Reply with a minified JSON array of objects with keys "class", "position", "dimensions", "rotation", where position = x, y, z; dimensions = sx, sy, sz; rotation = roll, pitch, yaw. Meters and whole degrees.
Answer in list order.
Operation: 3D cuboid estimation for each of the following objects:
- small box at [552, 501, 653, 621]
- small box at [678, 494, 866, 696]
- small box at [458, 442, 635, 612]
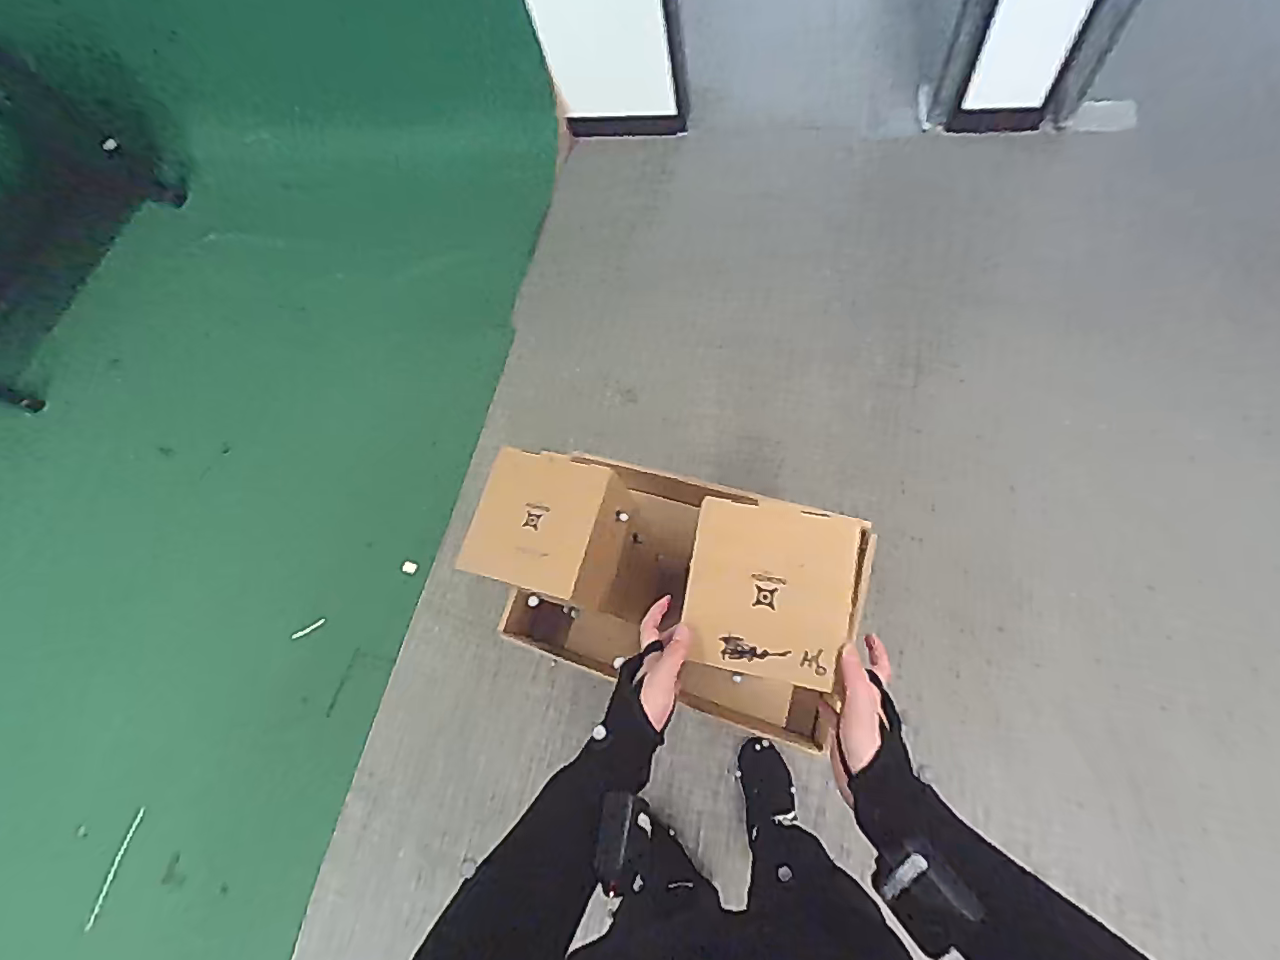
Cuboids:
[{"class":"small box","position":[-0.084,0.125,0.910],"dimensions":[0.168,0.176,0.179],"rotation":[12,73,17]},{"class":"small box","position":[0.150,0.129,0.622],"dimensions":[0.168,0.176,0.179],"rotation":[9,78,15]},{"class":"small box","position":[-0.116,0.072,0.759],"dimensions":[0.168,0.176,0.179],"rotation":[13,73,17]}]
